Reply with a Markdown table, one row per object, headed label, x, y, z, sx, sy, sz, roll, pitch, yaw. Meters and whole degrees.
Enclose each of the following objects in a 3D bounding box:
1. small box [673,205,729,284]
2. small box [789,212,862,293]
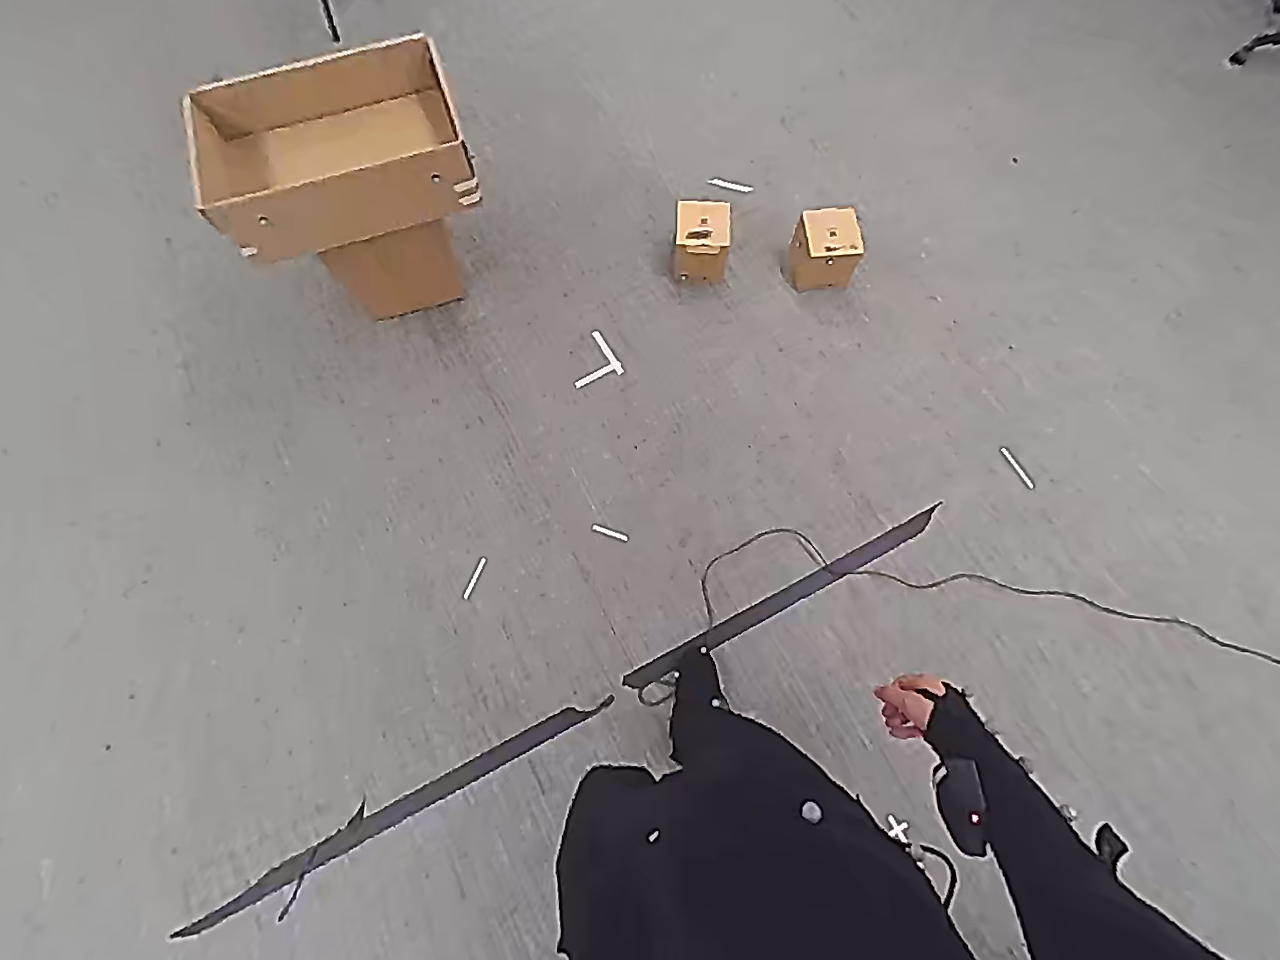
| label | x | y | z | sx | sy | sz | roll | pitch | yaw |
| --- | --- | --- | --- | --- | --- | --- | --- | --- | --- |
| small box | 0.195 | -0.758 | 1.754 | 0.168 | 0.176 | 0.179 | 3 | 72 | 1 |
| small box | 0.589 | -0.730 | 1.742 | 0.168 | 0.176 | 0.179 | -4 | 71 | -1 |
